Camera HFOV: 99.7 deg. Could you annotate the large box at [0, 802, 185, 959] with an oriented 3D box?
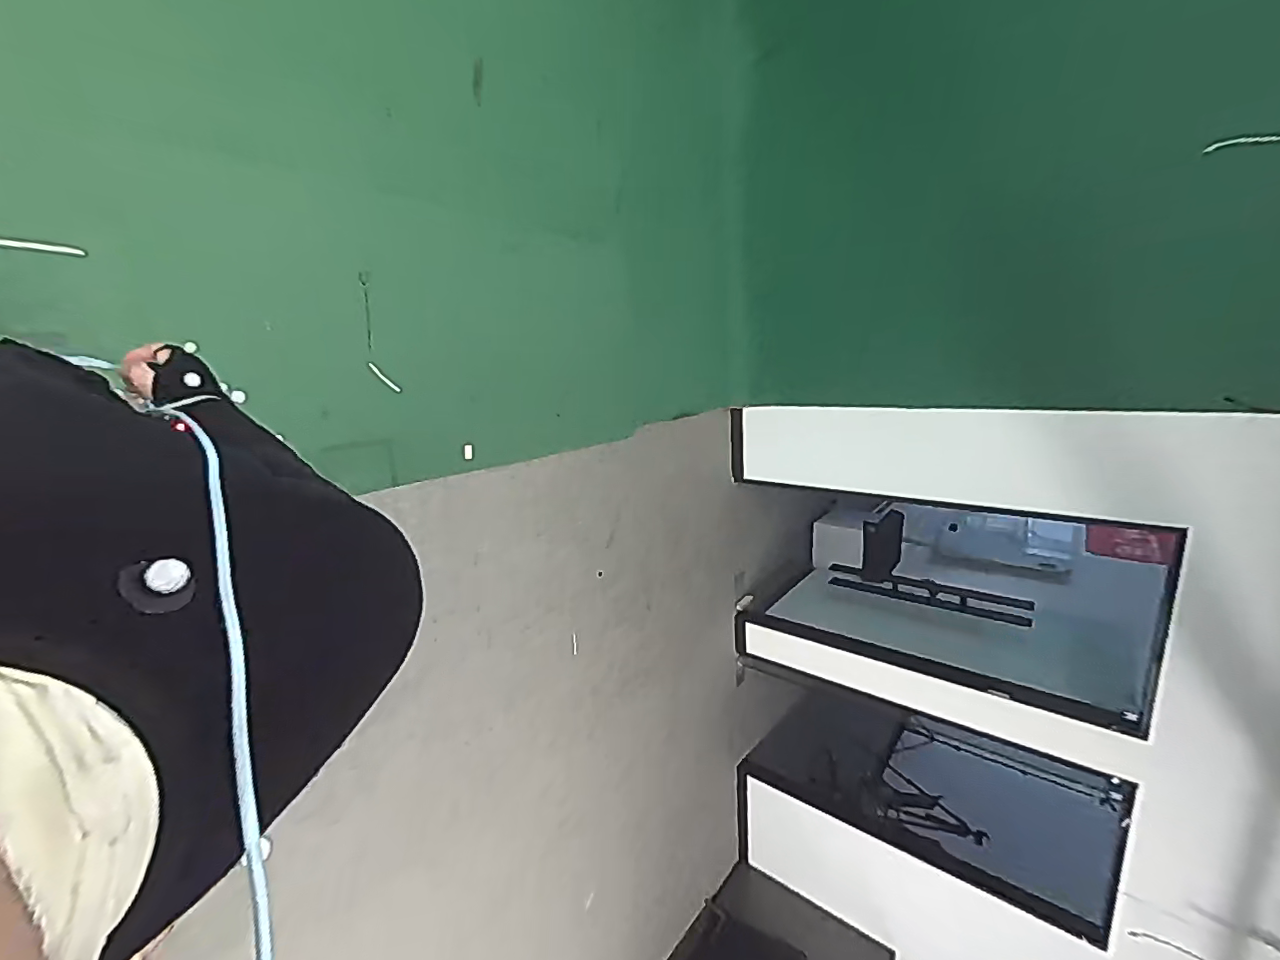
[{"bbox_3d":[-1.245,0.973,1.094,0.408,0.320,0.320,-21,112,-48],"label":"large box"}]
